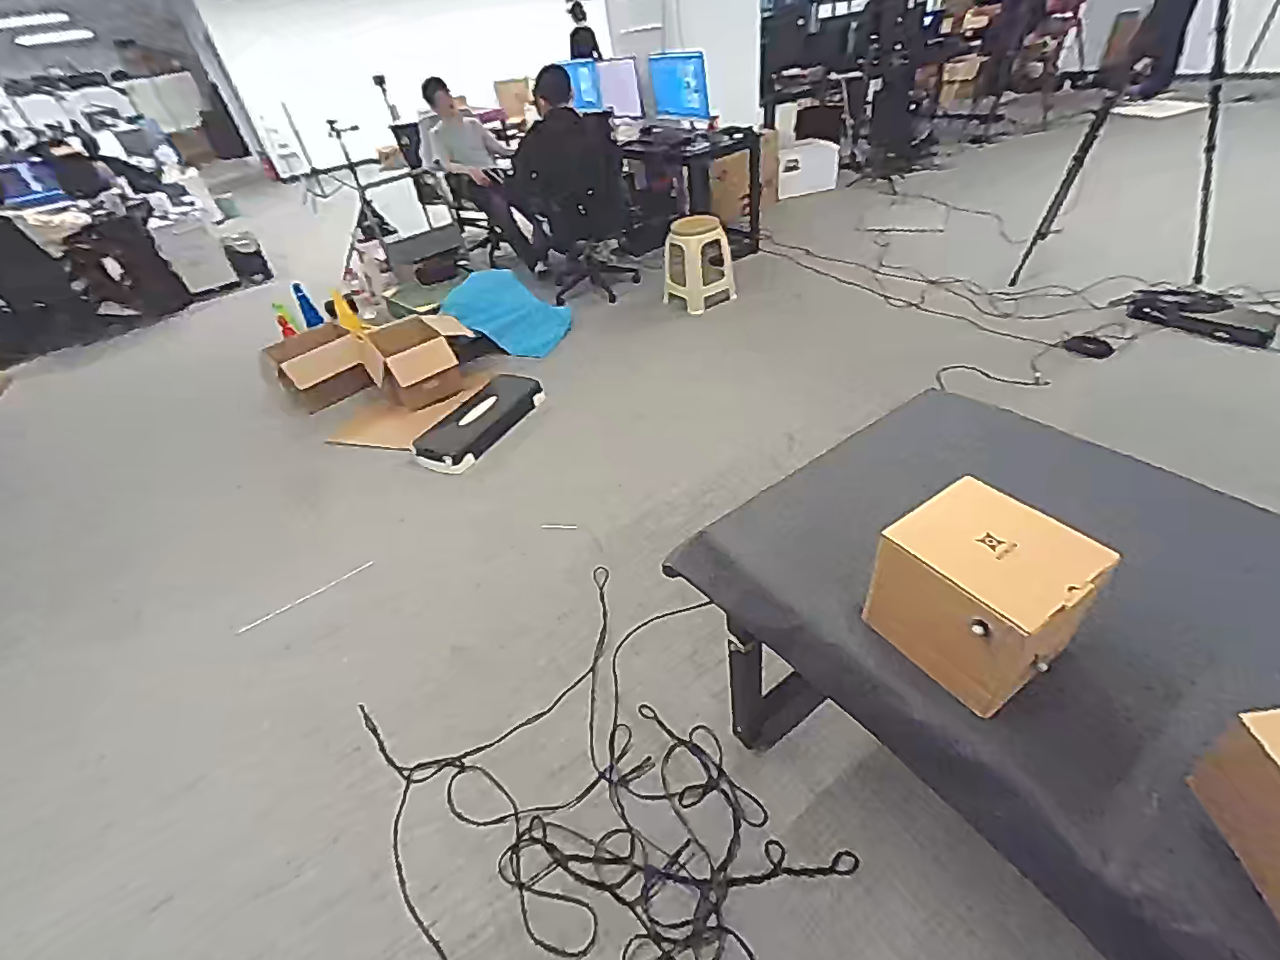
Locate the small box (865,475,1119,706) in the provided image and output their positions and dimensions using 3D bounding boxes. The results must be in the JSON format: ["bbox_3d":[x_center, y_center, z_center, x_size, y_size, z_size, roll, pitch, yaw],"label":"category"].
[{"bbox_3d":[0.400,0.129,0.649,0.168,0.176,0.179,-26,43,-20],"label":"small box"}]

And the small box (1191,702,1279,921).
[{"bbox_3d":[0.562,0.266,0.384,0.168,0.176,0.179,-18,41,16],"label":"small box"}]
